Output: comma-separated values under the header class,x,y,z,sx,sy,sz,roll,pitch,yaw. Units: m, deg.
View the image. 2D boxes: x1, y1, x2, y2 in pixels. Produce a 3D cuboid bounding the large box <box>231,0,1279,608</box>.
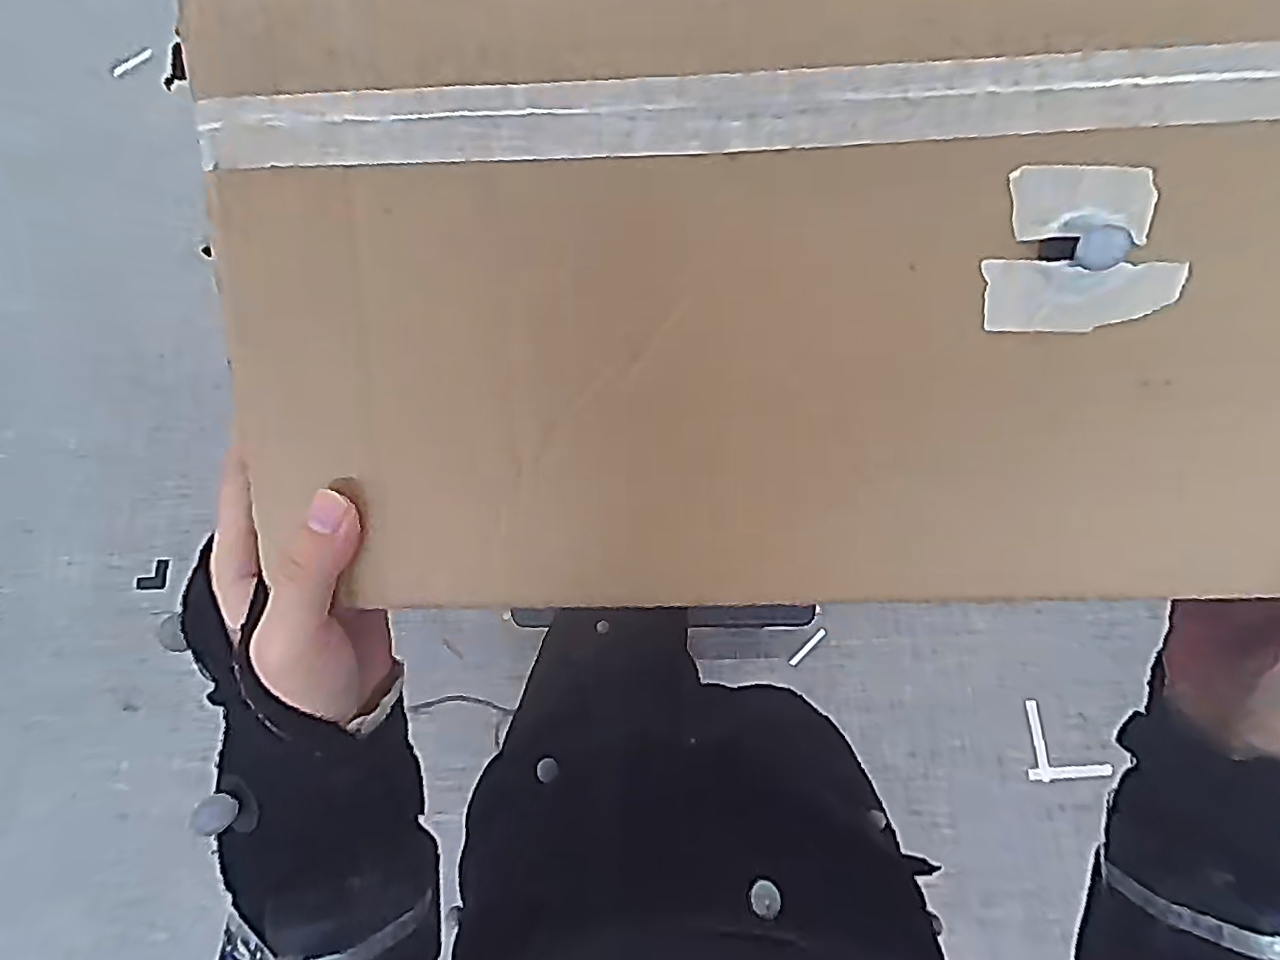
class,x,y,z,sx,sy,sz,roll,pitch,yaw
large box,0.067,-0.131,0.325,0.408,0.320,0.320,-2,98,1
